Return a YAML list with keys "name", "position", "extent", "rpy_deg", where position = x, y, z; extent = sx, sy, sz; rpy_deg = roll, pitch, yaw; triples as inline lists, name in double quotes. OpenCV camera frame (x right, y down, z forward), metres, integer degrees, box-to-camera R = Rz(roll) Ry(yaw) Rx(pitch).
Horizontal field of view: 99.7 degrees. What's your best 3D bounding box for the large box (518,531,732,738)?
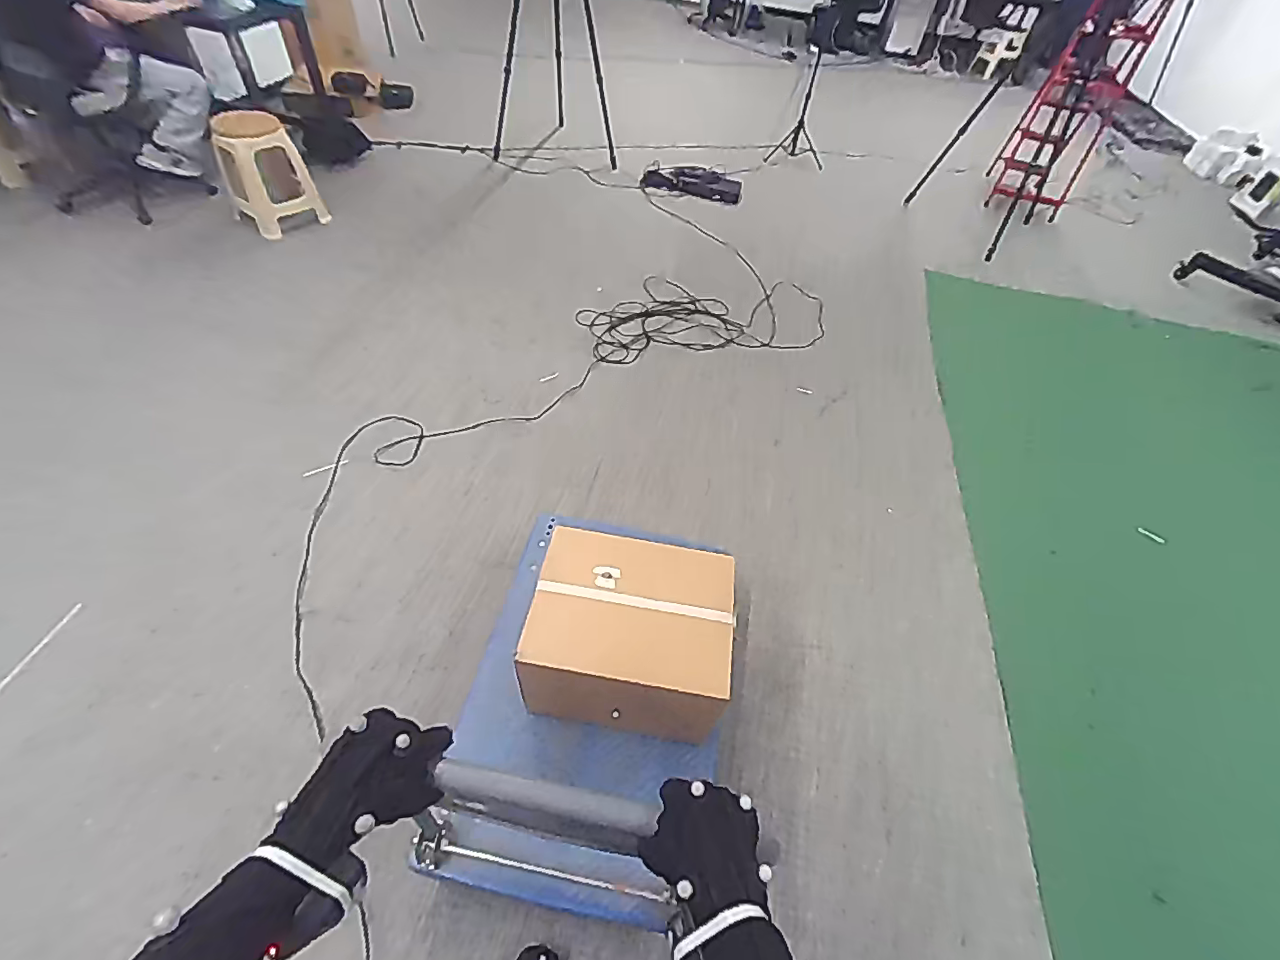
- name: "large box"
  position: [-0.021, 0.352, 1.215]
  extent: [0.408, 0.320, 0.320]
  rpy_deg: [9, 49, 3]
